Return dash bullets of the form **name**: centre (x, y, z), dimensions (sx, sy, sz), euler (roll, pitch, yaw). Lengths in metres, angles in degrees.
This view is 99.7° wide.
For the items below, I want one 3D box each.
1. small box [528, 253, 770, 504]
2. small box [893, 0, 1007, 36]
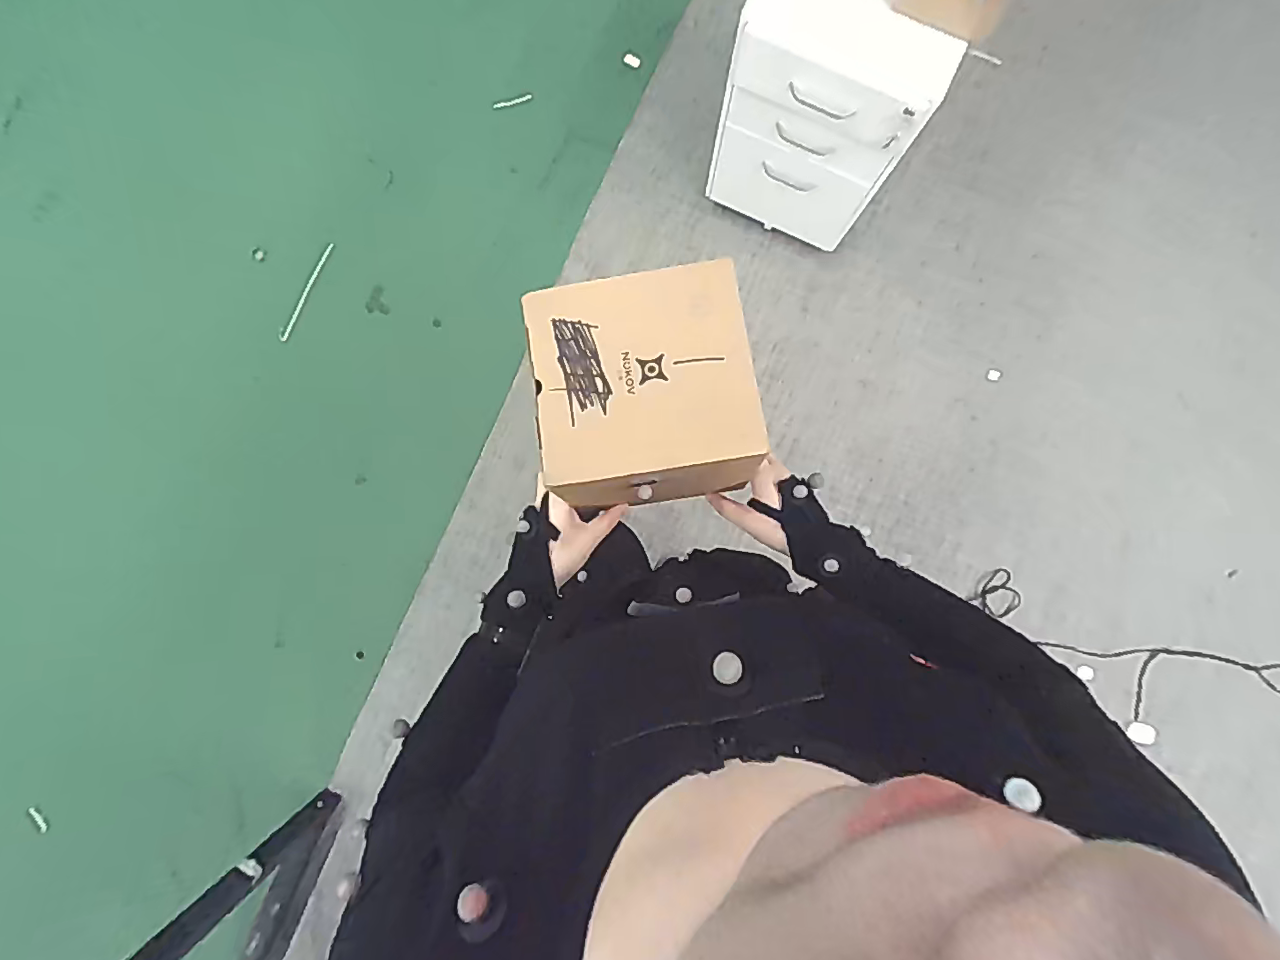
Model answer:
- **small box**: centre (0.009, -0.077, 0.502), dimensions (0.179, 0.176, 0.168), euler (-9, 80, 2)
- **small box**: centre (0.558, -0.890, 0.888), dimensions (0.179, 0.176, 0.168), euler (25, 85, 4)
